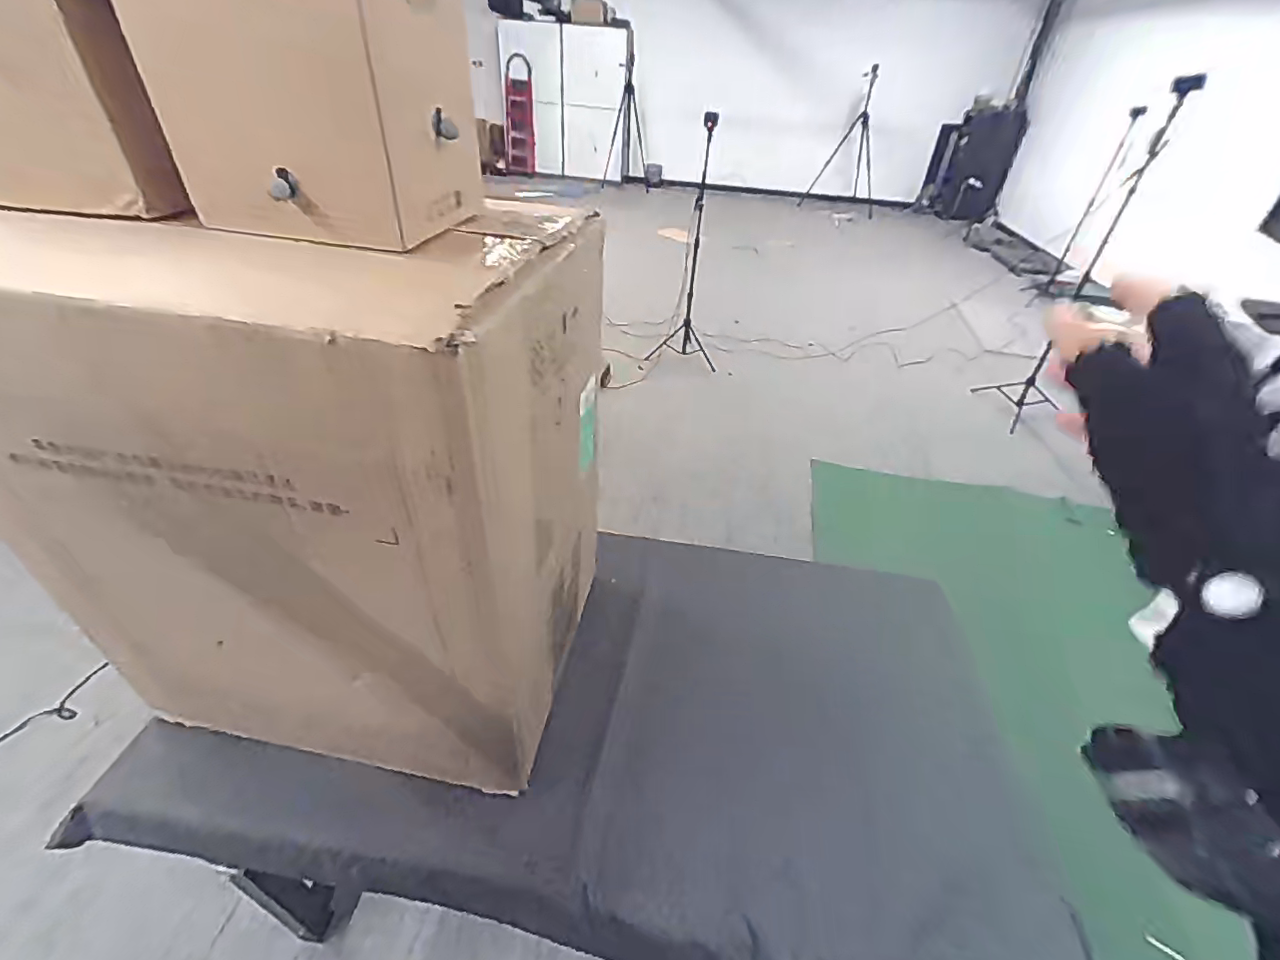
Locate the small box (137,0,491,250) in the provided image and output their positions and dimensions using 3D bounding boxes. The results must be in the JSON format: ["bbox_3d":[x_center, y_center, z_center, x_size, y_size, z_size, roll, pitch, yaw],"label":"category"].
[{"bbox_3d":[-0.238,-0.301,0.448,0.179,0.176,0.168,8,38,5],"label":"small box"}]

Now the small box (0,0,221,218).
[{"bbox_3d":[-0.456,-0.336,0.465,0.179,0.176,0.168,7,38,2],"label":"small box"}]
